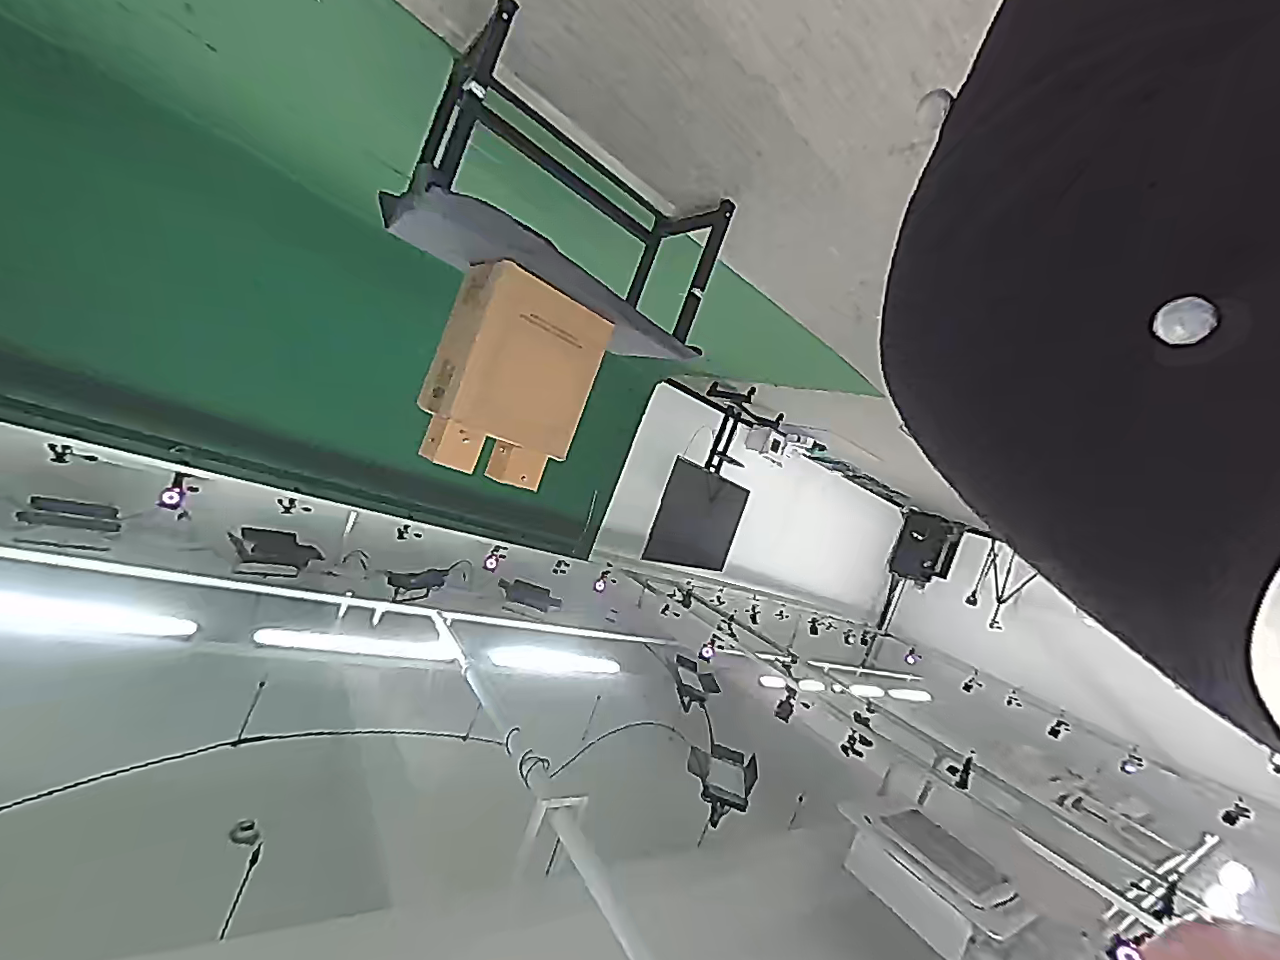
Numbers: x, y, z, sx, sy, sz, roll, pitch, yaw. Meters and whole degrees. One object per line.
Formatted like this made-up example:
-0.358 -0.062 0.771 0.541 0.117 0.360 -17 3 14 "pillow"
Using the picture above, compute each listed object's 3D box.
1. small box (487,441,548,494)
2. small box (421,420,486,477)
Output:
-0.523 -0.056 2.327 0.179 0.176 0.168 22 177 -42 "small box"
-0.736 -0.131 2.149 0.168 0.176 0.179 22 177 -41 "small box"
